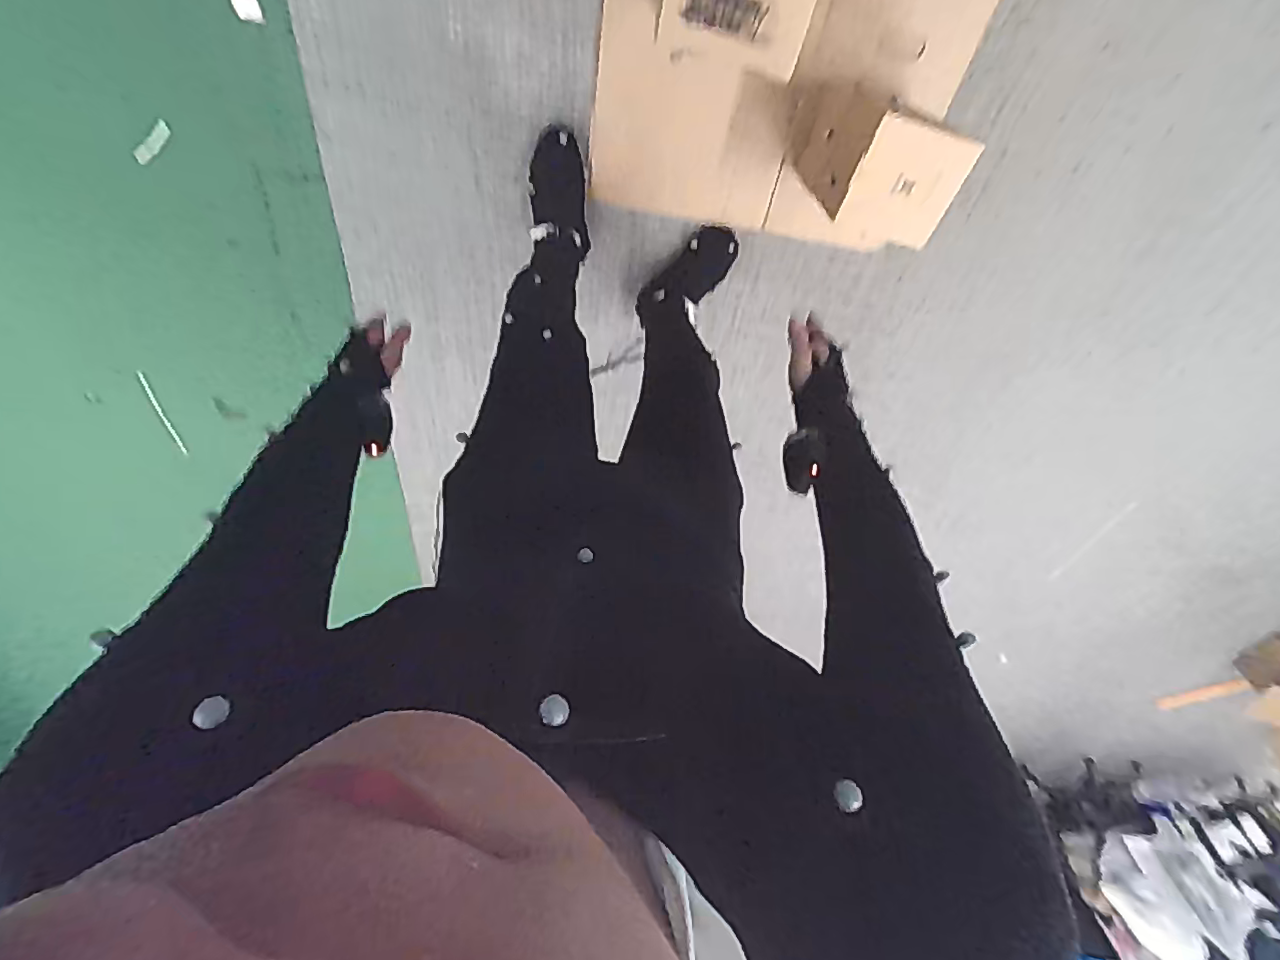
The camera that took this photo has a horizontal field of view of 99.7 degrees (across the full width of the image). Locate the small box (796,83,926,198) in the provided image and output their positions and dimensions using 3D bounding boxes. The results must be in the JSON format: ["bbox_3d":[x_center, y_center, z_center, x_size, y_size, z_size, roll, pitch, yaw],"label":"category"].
[{"bbox_3d":[0.428,-0.641,1.045,0.179,0.176,0.168,9,134,-8],"label":"small box"}]

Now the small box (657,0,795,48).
[{"bbox_3d":[0.125,-0.722,0.736,0.179,0.176,0.168,8,135,-7],"label":"small box"}]

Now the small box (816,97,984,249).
[{"bbox_3d":[0.426,-0.529,0.926,0.179,0.176,0.168,11,134,-10],"label":"small box"}]
